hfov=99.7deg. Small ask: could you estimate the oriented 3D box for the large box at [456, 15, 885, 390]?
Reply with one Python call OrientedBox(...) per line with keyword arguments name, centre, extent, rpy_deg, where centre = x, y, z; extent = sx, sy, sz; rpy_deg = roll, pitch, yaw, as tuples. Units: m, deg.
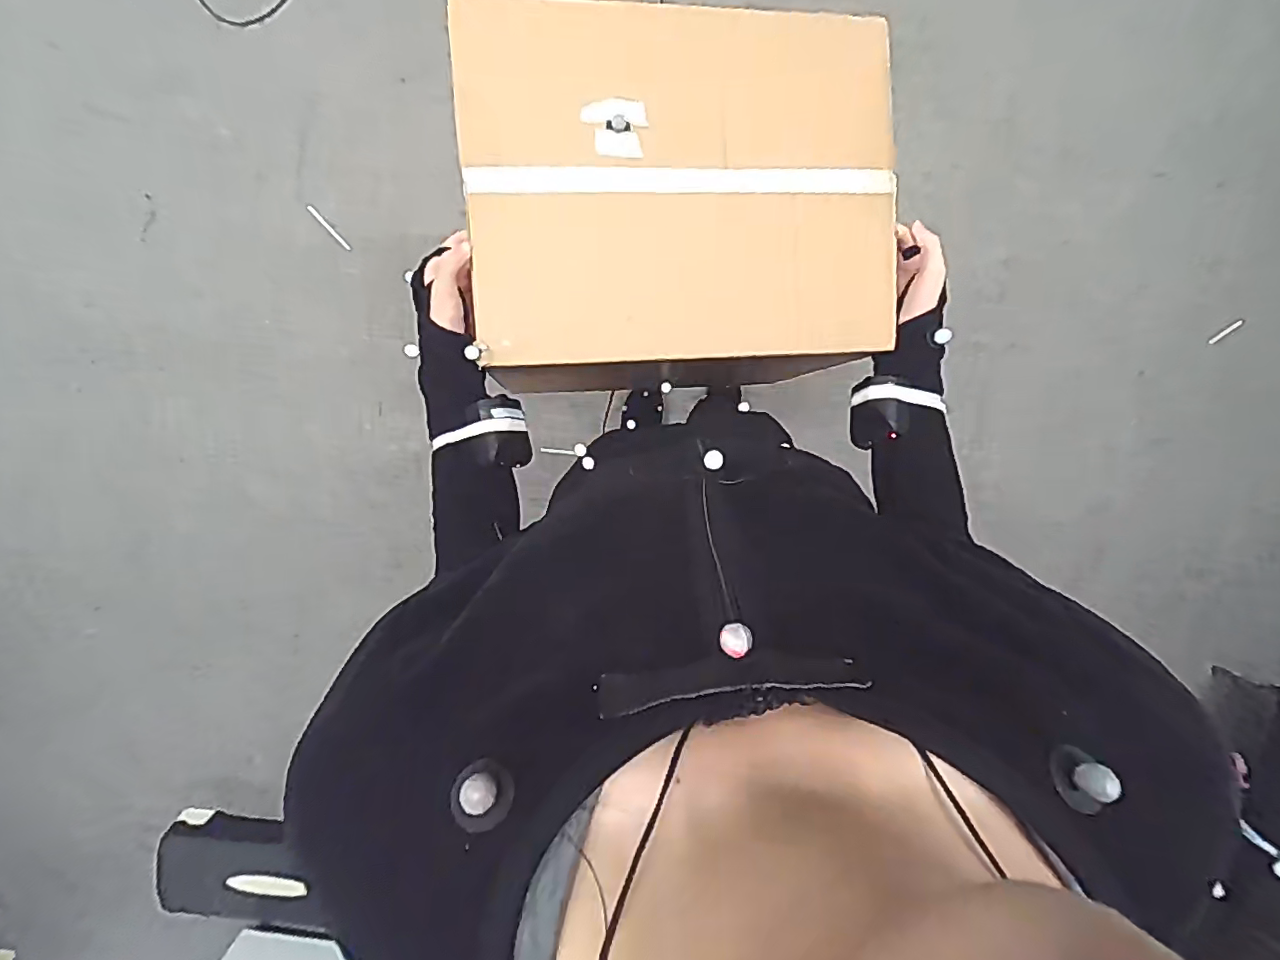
OrientedBox(name="large box", centre=(0.026, -0.283, 0.657), extent=(0.408, 0.320, 0.320), rpy_deg=(-4, 94, -7))
